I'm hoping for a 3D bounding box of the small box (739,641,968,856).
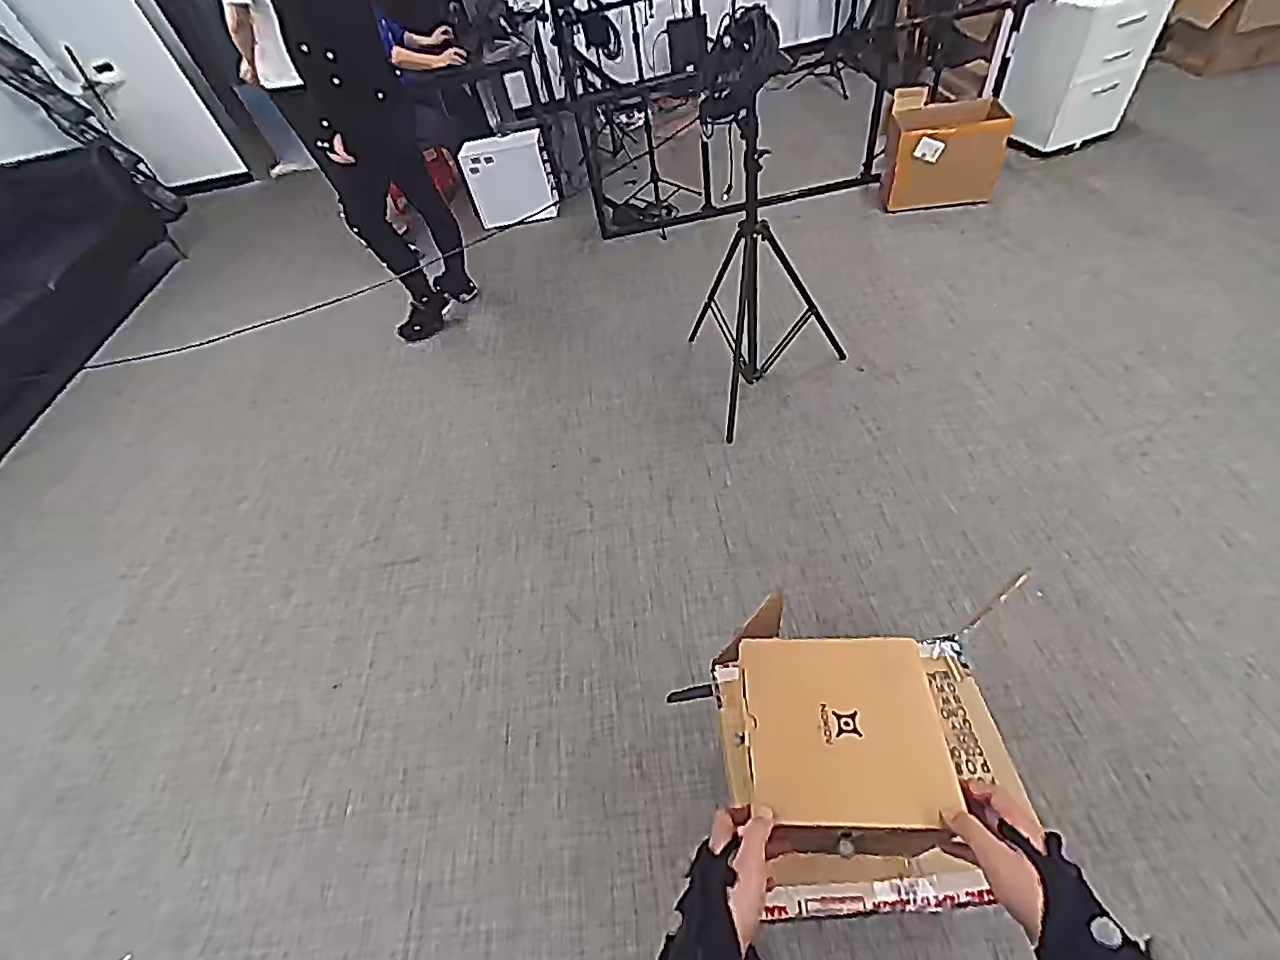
[{"bbox_3d":[0.196,0.279,0.560,0.179,0.176,0.168,-3,49,8],"label":"small box"}]
